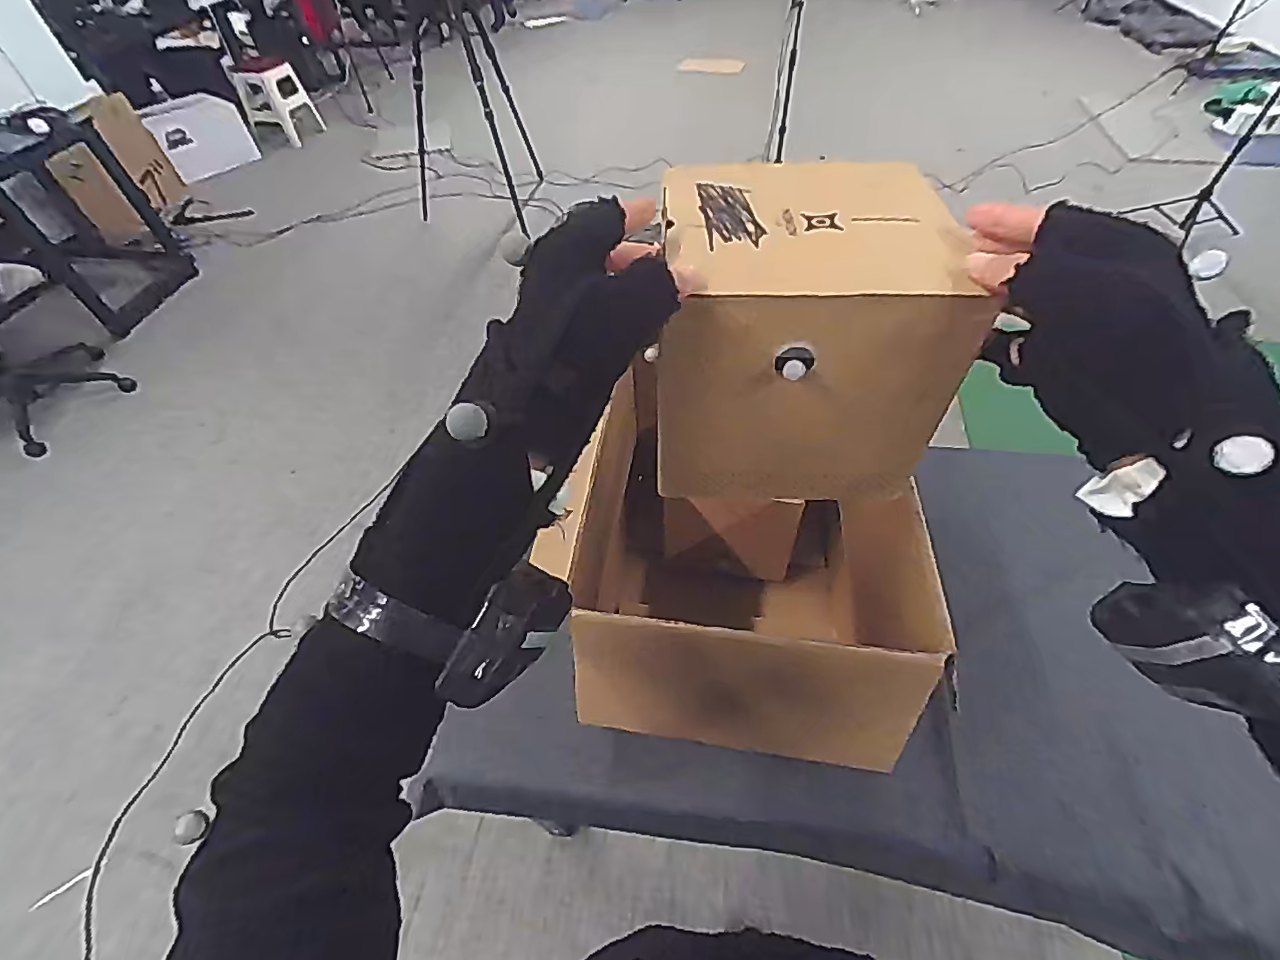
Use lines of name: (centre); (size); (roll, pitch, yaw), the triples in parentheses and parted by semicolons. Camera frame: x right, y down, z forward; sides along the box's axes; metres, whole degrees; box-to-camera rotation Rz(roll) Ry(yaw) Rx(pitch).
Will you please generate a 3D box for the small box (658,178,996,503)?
small box: (0.104, -0.096, 0.392); (0.179, 0.176, 0.168); (1, 50, 2)
